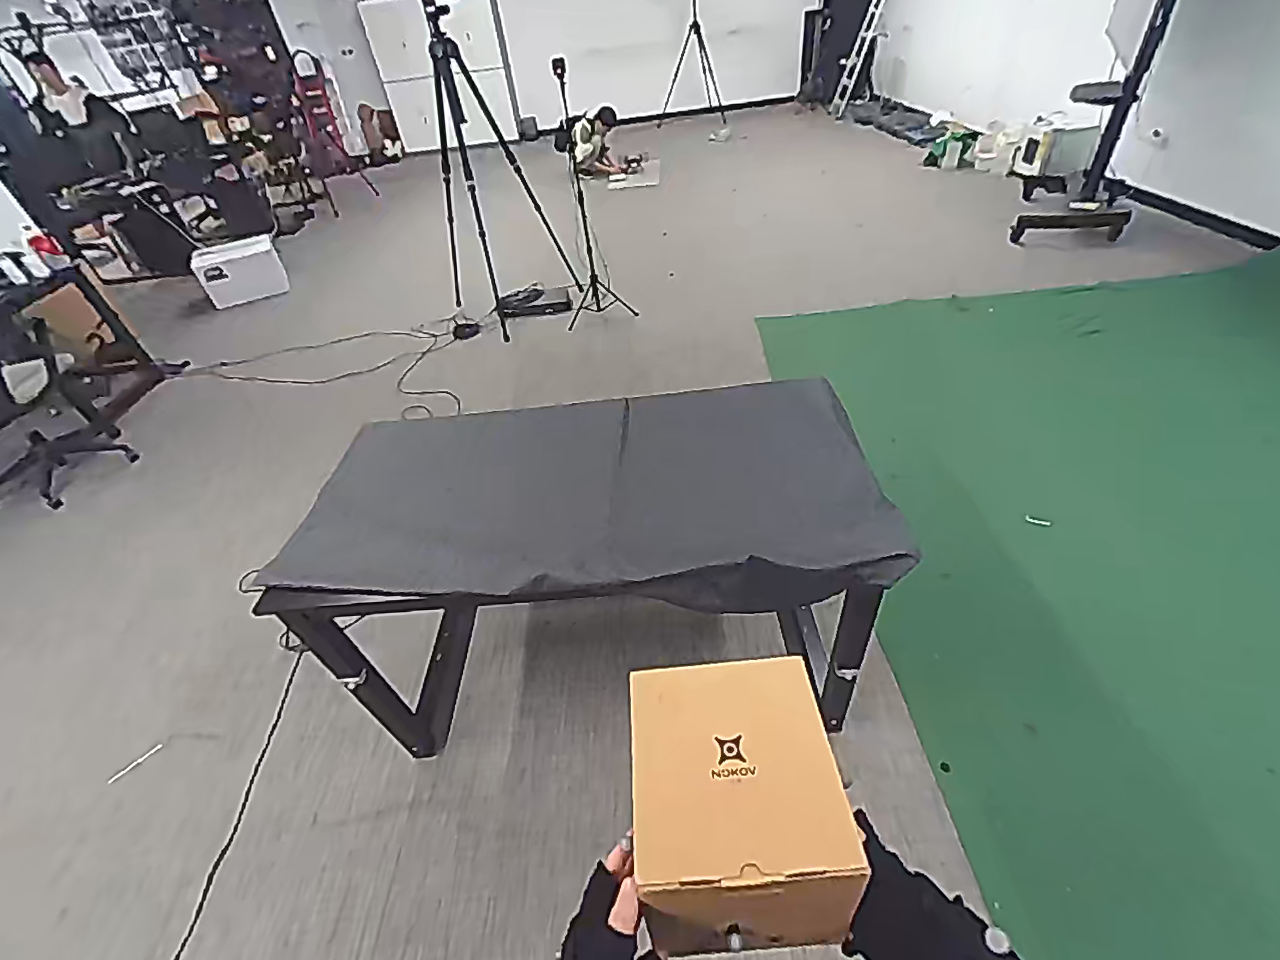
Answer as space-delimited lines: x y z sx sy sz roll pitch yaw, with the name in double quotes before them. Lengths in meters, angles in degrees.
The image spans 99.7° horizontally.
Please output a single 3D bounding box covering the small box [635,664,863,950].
"small box" 0.084 0.299 0.503 0.168 0.176 0.179 -6 38 2
